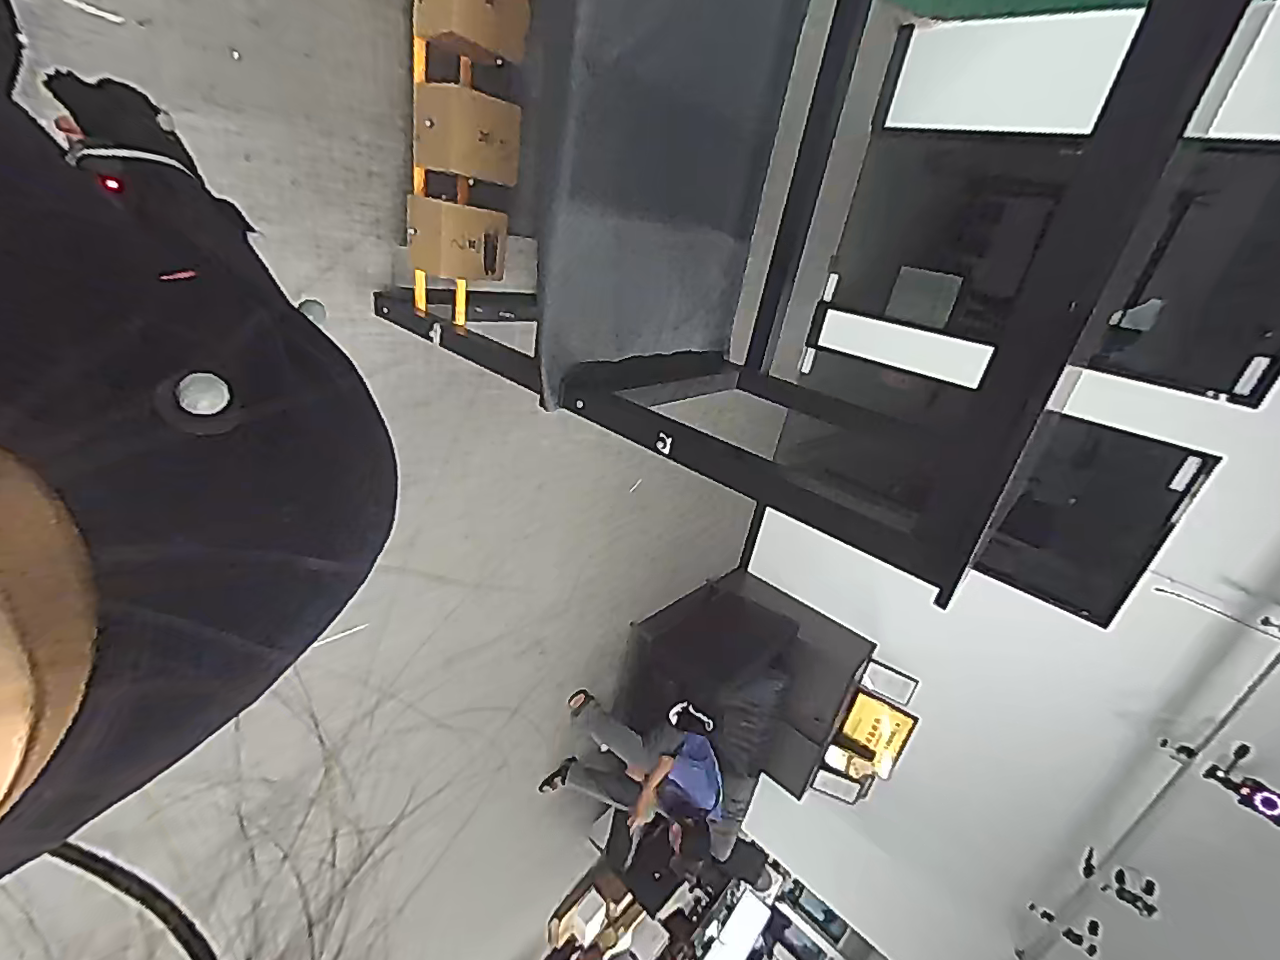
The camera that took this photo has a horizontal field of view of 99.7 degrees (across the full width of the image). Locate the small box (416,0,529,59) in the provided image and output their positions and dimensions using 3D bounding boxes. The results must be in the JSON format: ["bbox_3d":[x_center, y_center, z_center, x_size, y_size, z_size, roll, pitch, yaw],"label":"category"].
[{"bbox_3d":[-0.357,-1.022,1.149,0.179,0.176,0.168,-15,127,-47],"label":"small box"}]

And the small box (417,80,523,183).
[{"bbox_3d":[-0.398,-0.804,1.254,0.179,0.176,0.168,-17,128,-46],"label":"small box"}]
